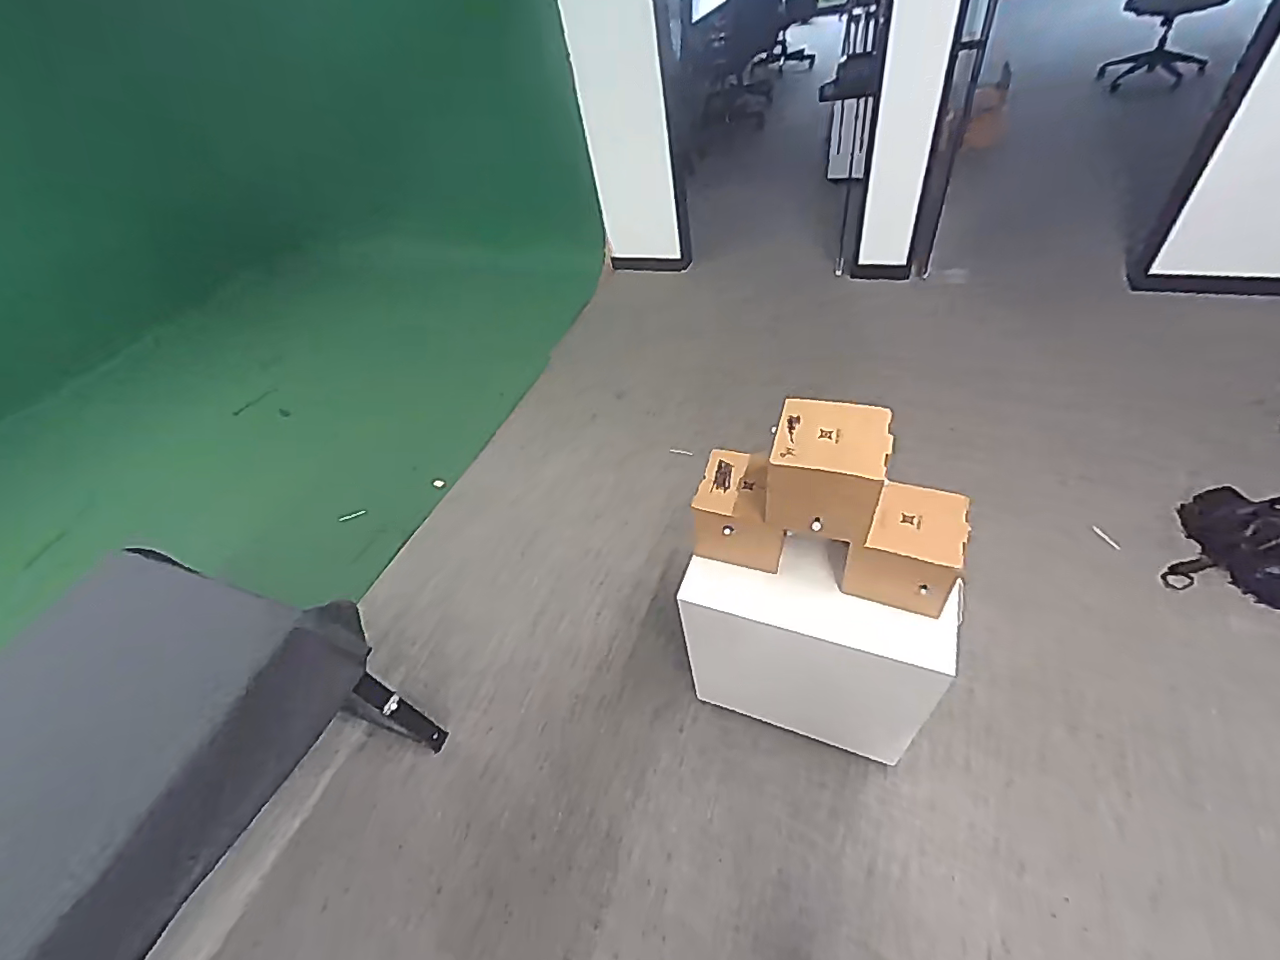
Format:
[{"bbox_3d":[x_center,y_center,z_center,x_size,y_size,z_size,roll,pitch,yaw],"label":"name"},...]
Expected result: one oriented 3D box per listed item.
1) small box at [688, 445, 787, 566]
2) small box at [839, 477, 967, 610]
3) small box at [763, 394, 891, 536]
[{"bbox_3d":[0.210,0.054,1.109,0.179,0.176,0.168,12,52,19],"label":"small box"},{"bbox_3d":[0.480,0.118,1.000,0.179,0.176,0.168,12,51,23],"label":"small box"},{"bbox_3d":[0.319,-0.023,0.937,0.179,0.176,0.168,11,51,19],"label":"small box"}]
